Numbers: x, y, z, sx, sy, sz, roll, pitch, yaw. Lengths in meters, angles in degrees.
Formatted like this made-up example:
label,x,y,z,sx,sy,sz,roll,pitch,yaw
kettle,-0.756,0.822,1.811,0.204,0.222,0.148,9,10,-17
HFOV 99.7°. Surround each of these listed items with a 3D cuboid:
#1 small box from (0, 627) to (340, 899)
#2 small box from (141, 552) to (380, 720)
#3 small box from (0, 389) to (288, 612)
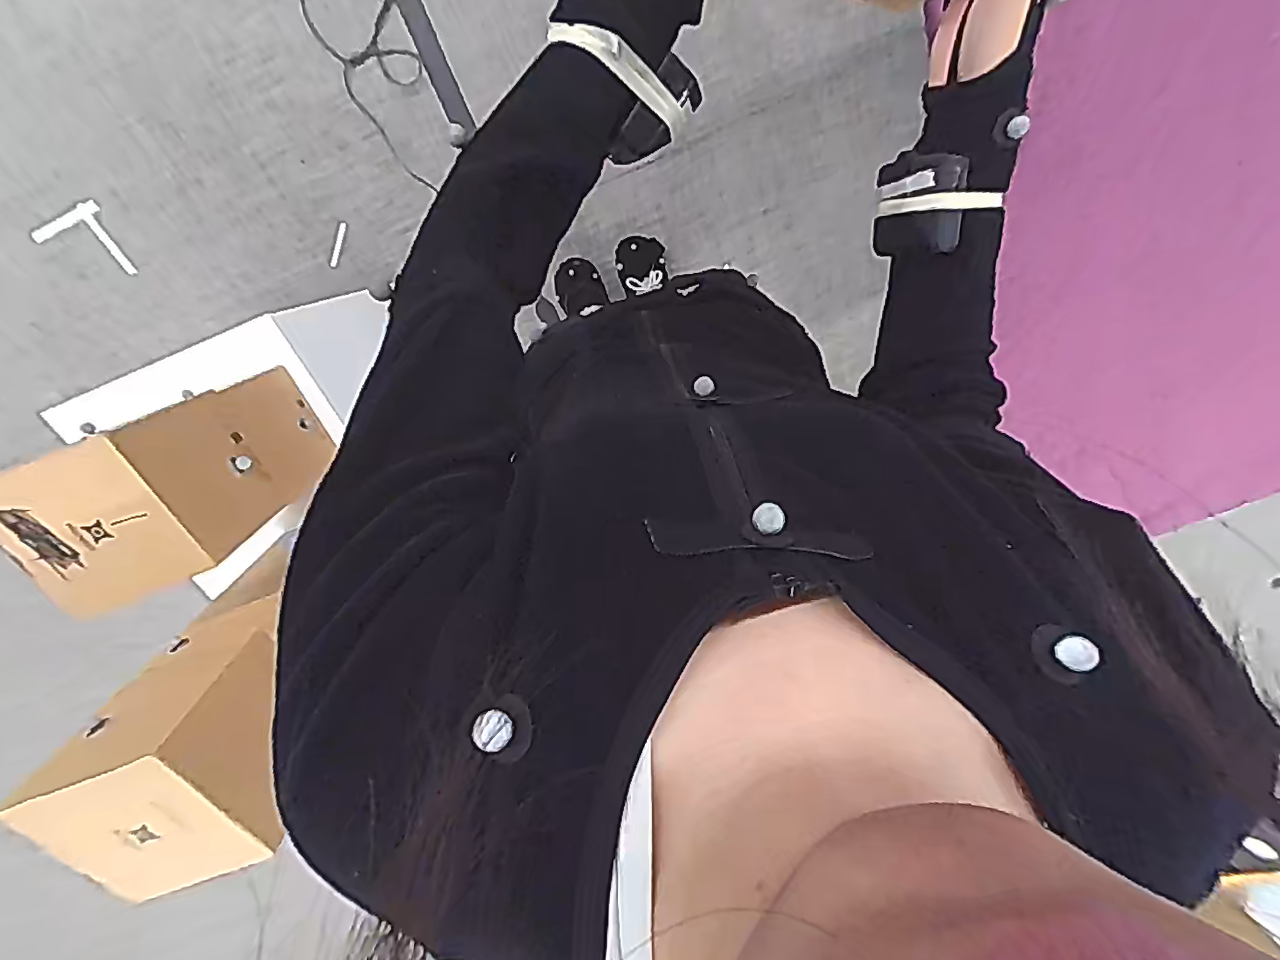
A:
label,x,y,z,sx,sy,sz,roll,pitch,yaw
small box,-0.470,0.292,0.578,0.179,0.176,0.168,-22,115,5
small box,-0.480,0.224,0.726,0.179,0.176,0.168,-22,115,6
small box,-0.560,0.015,0.619,0.179,0.176,0.168,-20,116,3
